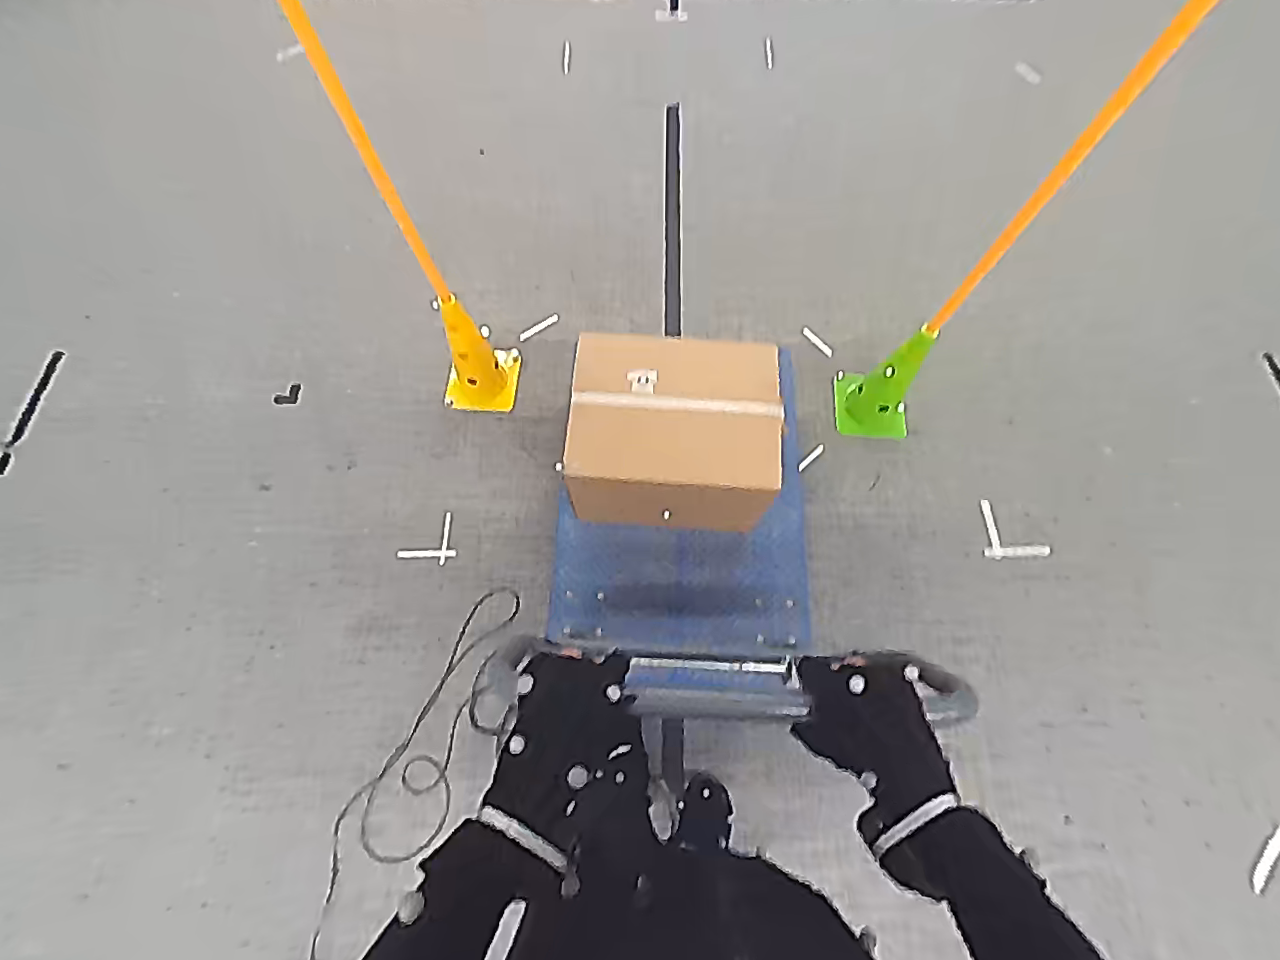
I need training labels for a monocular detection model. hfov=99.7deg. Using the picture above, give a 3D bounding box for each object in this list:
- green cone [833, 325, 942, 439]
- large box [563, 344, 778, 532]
[{"bbox_3d":[0.672,-0.277,1.421,0.202,0.368,0.200,5,69,0],"label":"green cone"},{"bbox_3d":[0.066,-0.076,1.185,0.408,0.320,0.320,4,69,2],"label":"large box"}]
